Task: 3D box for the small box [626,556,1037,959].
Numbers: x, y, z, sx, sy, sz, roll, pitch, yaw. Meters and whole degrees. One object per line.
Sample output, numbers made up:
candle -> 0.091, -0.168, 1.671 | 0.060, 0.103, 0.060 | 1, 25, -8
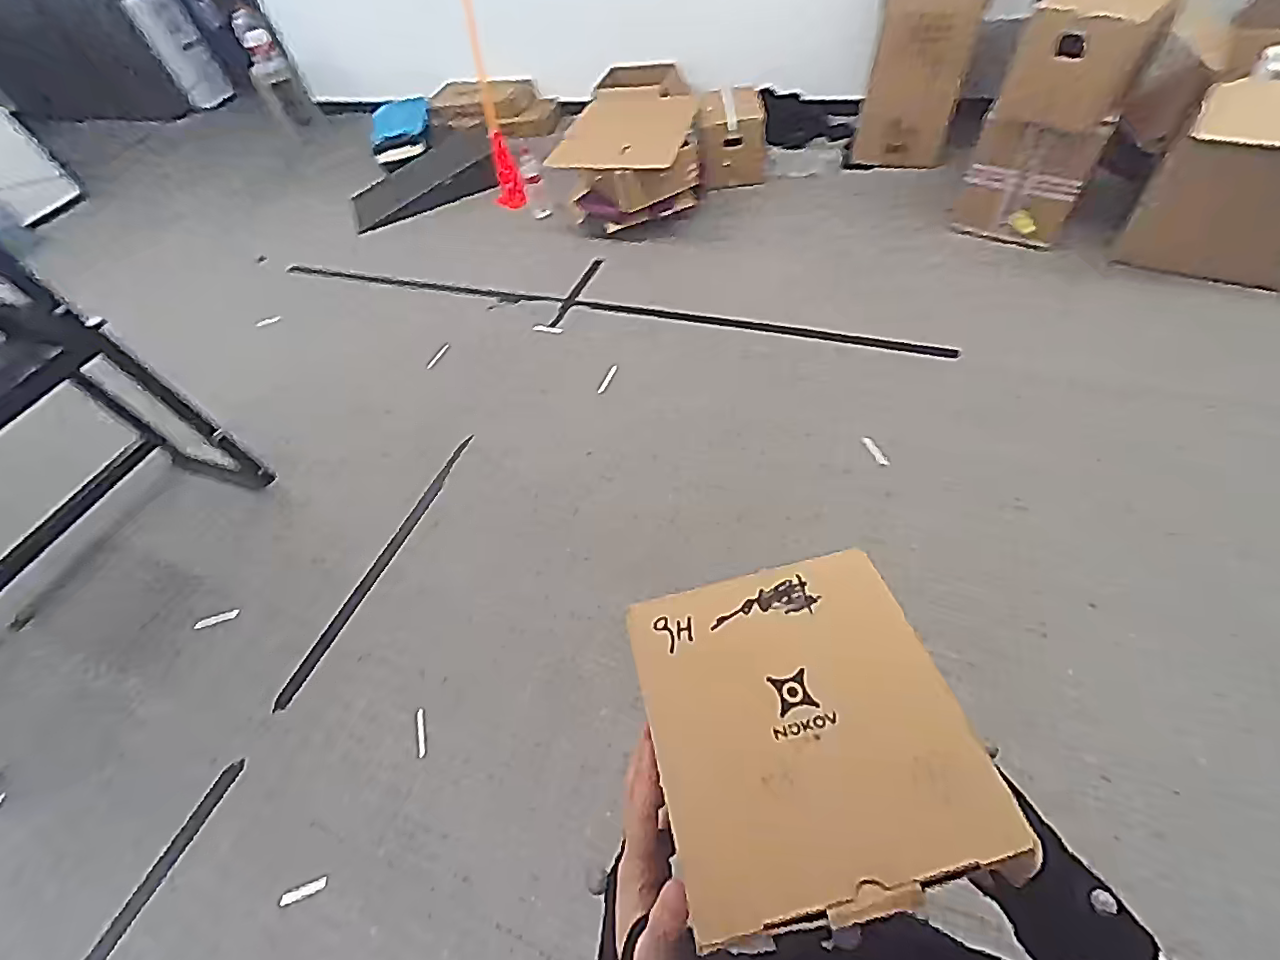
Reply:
small box -> 0.095, 0.182, 0.357 | 0.168, 0.176, 0.179 | -13, 50, -4
